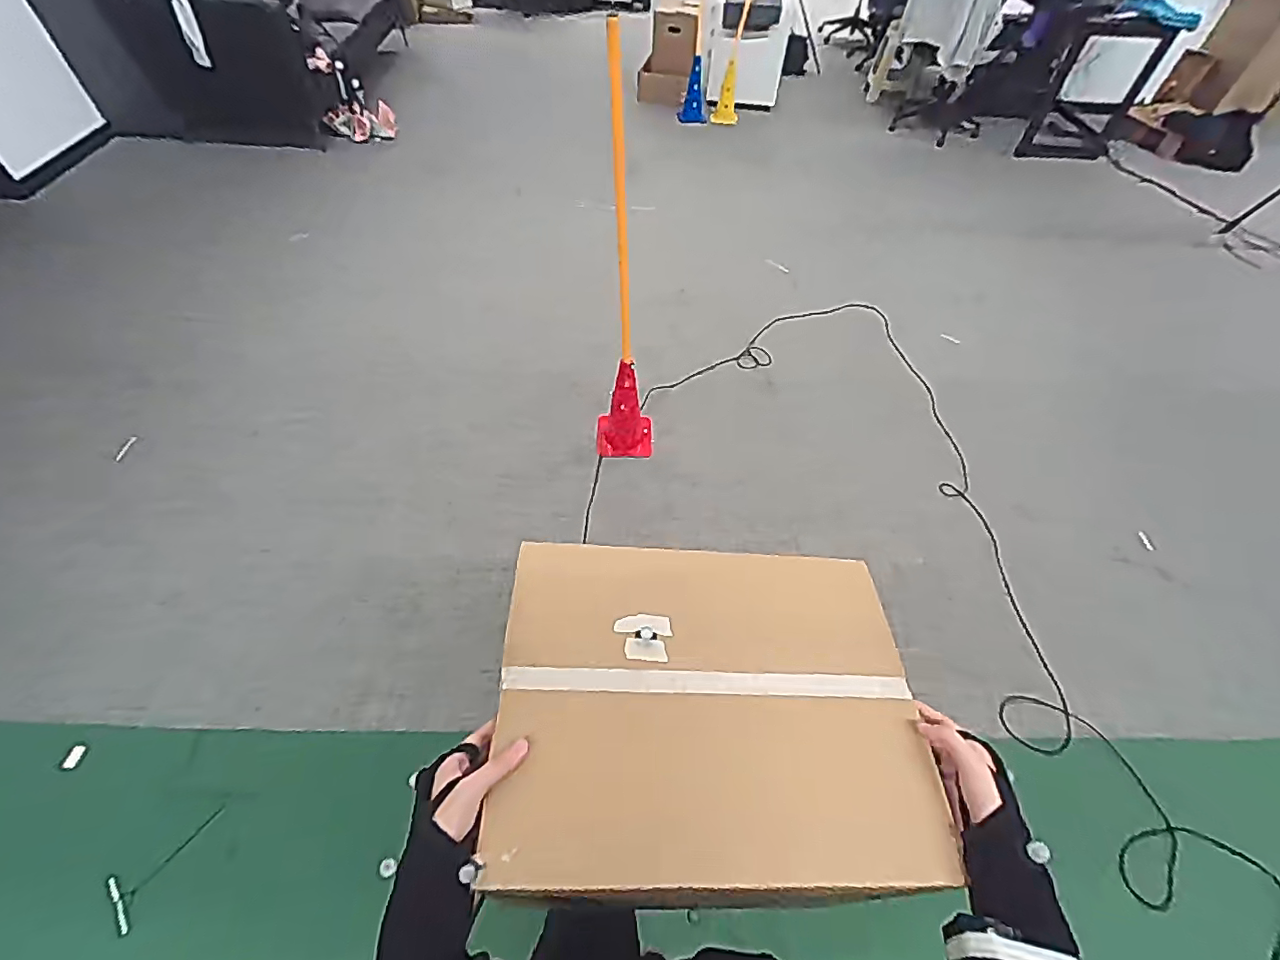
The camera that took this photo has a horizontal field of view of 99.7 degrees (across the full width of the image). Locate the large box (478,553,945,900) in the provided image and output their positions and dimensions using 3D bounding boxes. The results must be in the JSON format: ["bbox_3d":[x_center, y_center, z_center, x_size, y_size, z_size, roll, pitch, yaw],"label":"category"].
[{"bbox_3d":[0.050,0.303,0.652,0.408,0.320,0.320,3,49,-6],"label":"large box"}]
